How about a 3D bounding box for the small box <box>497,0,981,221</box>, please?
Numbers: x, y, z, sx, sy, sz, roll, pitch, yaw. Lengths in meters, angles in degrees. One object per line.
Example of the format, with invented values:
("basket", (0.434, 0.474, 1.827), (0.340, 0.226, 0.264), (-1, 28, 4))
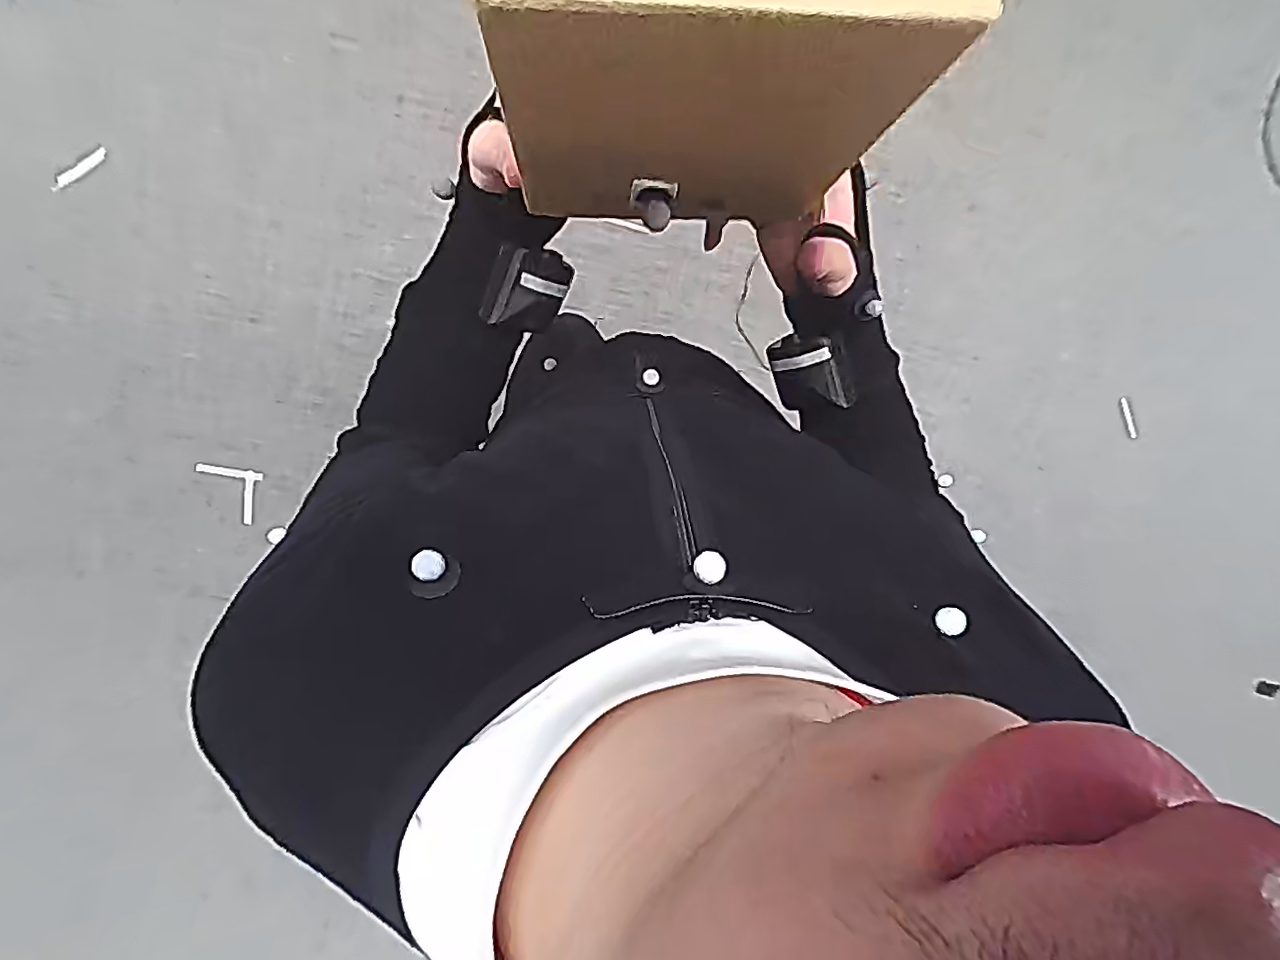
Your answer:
("small box", (0.023, -0.242, 0.248), (0.168, 0.176, 0.179), (-3, 96, -5))
